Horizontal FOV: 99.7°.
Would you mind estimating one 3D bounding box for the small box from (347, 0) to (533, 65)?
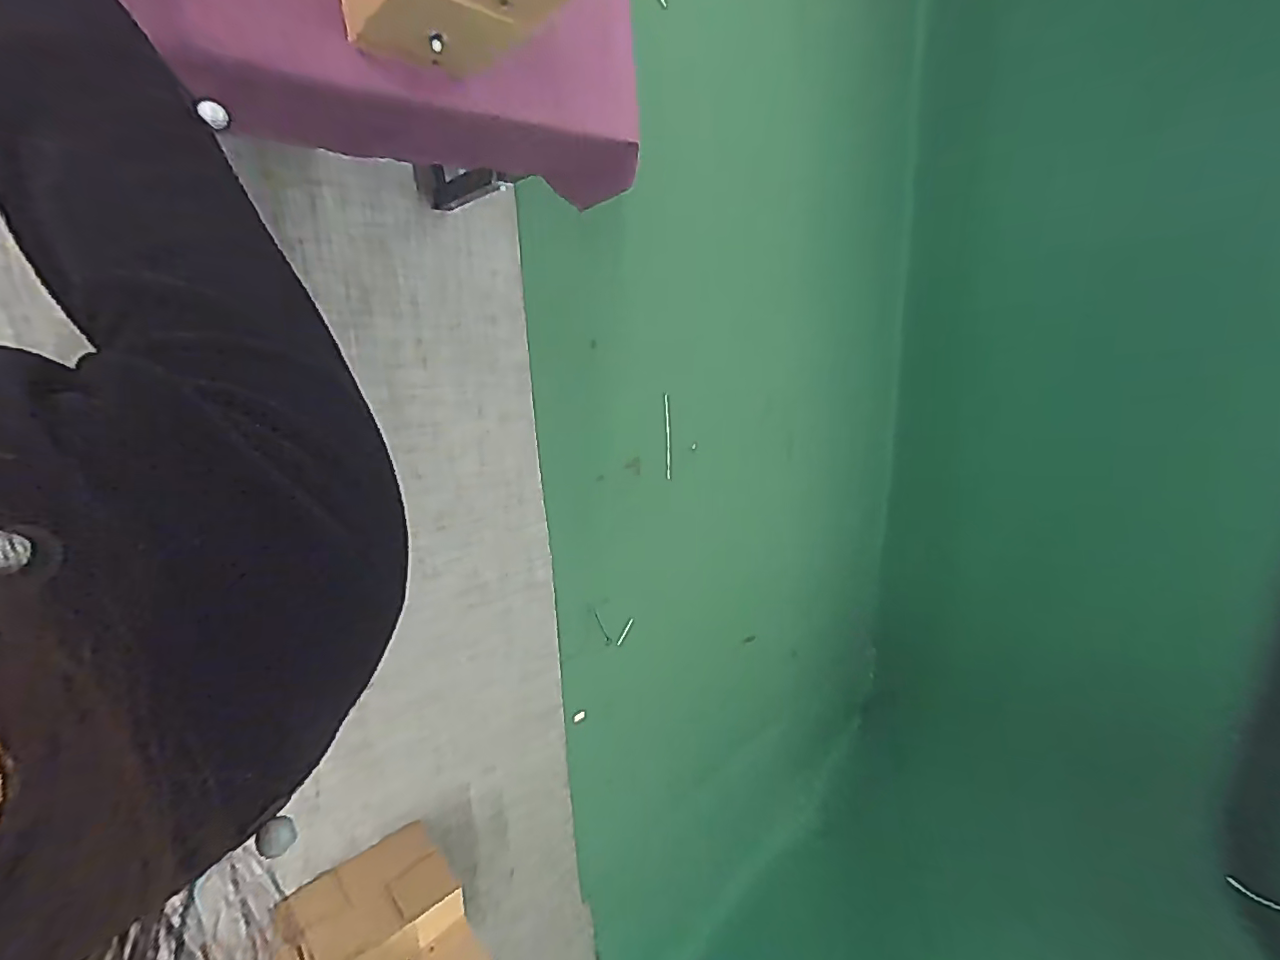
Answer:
[{"bbox_3d":[-0.251,-0.641,0.647,0.168,0.176,0.179,-20,112,-42],"label":"small box"}]

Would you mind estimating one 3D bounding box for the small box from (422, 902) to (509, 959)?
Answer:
[{"bbox_3d":[-0.470,1.315,1.465,0.168,0.176,0.179,-16,112,-43],"label":"small box"}]
